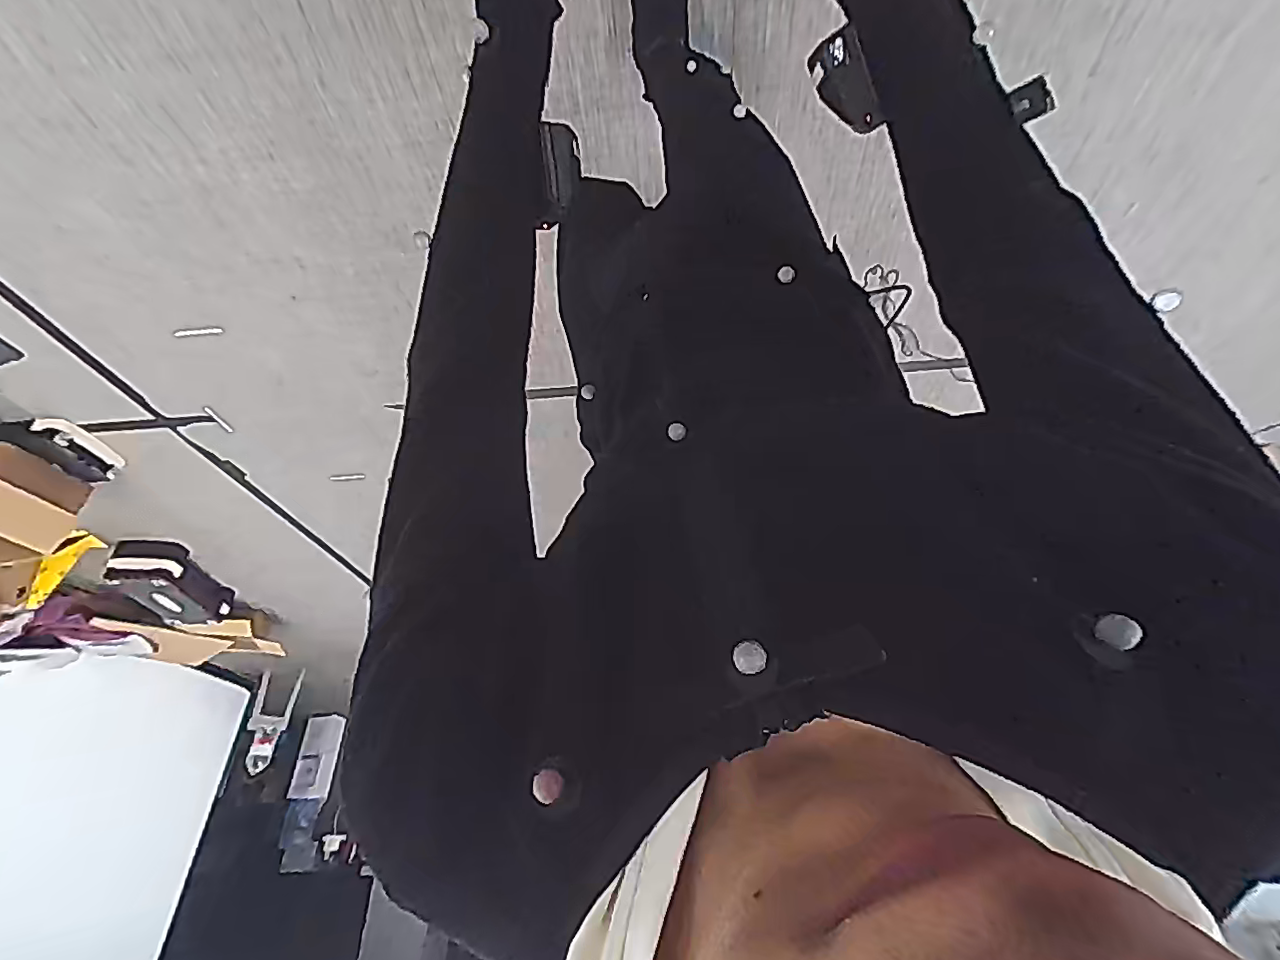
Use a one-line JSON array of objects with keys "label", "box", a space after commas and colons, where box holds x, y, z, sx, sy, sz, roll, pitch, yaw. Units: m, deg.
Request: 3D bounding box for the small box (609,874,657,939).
[{"label": "small box", "box": [-0.023, 1.550, 1.973, 0.168, 0.176, 0.179, -4, 147, 1]}]

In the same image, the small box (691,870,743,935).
[{"label": "small box", "box": [0.275, 1.526, 1.960, 0.168, 0.176, 0.179, -5, 147, 2]}]
